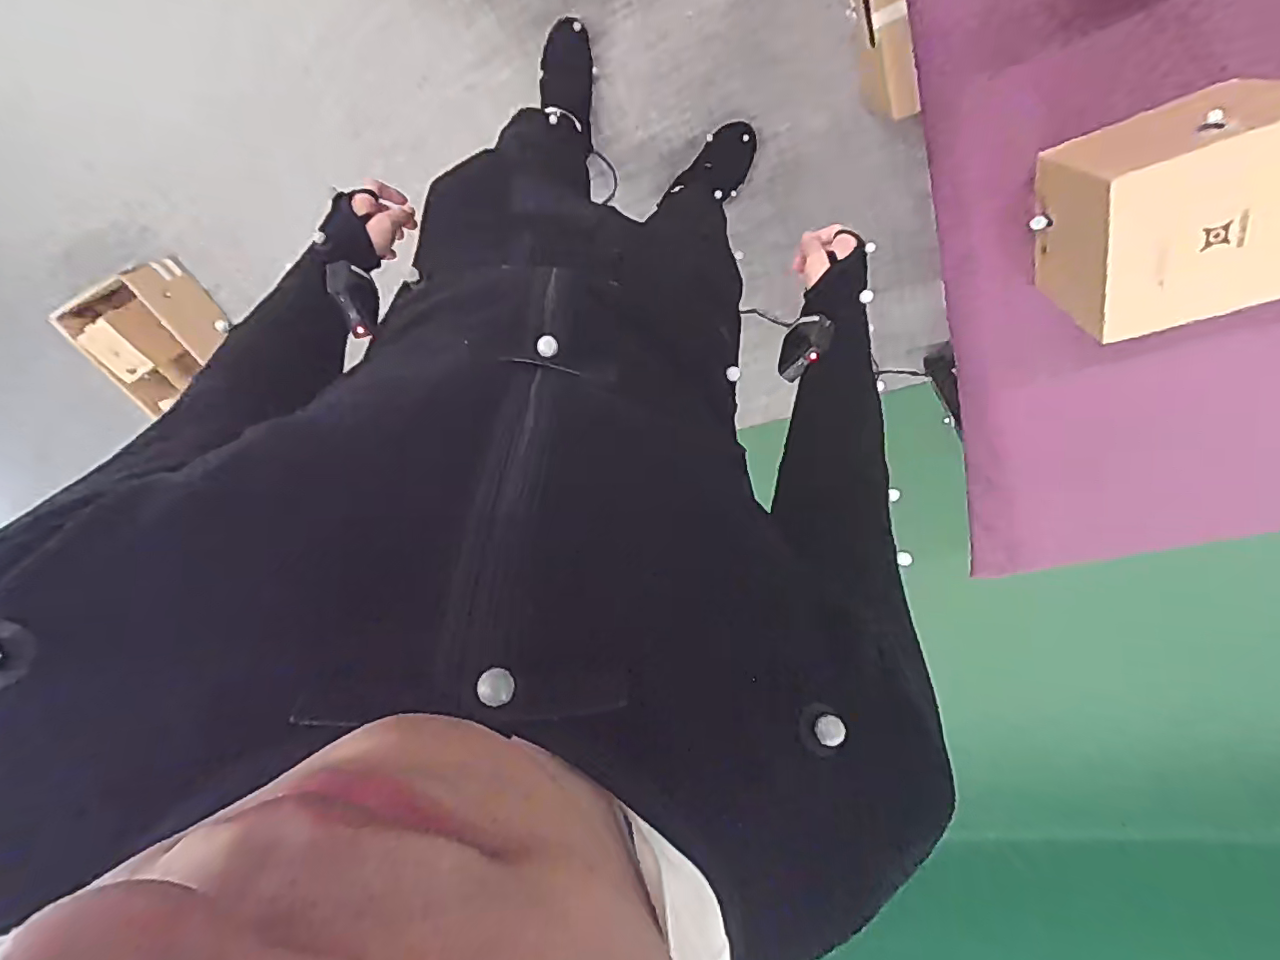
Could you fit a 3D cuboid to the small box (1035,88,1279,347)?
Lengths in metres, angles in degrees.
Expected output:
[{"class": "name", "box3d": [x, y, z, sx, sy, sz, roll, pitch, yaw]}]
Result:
[{"class": "small box", "box3d": [0.533, -0.263, 0.540, 0.179, 0.176, 0.168, -13, 124, 21]}]

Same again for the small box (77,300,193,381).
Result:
[{"class": "small box", "box3d": [-1.604, -0.452, 1.725, 0.168, 0.176, 0.179, -18, 123, 23]}]

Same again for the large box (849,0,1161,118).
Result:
[{"class": "large box", "box3d": [0.582, -0.874, 0.898, 0.408, 0.320, 0.320, -15, 125, 21]}]
